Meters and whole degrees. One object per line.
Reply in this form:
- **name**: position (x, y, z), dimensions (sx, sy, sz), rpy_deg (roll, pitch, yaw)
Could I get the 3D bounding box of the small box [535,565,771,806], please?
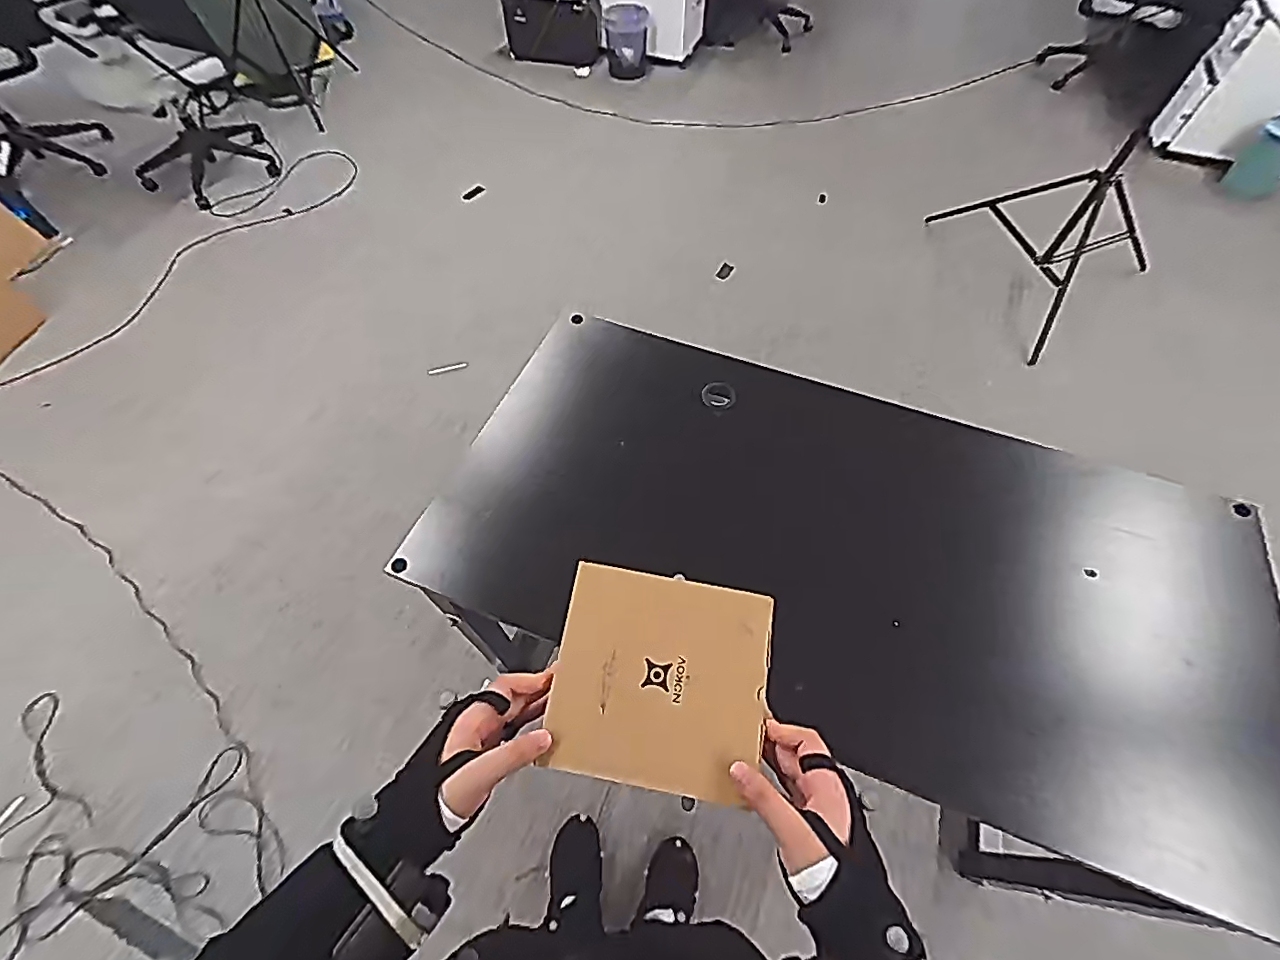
- **small box**: position (0.015, 0.195, 0.518), dimensions (0.179, 0.176, 0.168), rpy_deg (8, 64, 3)
